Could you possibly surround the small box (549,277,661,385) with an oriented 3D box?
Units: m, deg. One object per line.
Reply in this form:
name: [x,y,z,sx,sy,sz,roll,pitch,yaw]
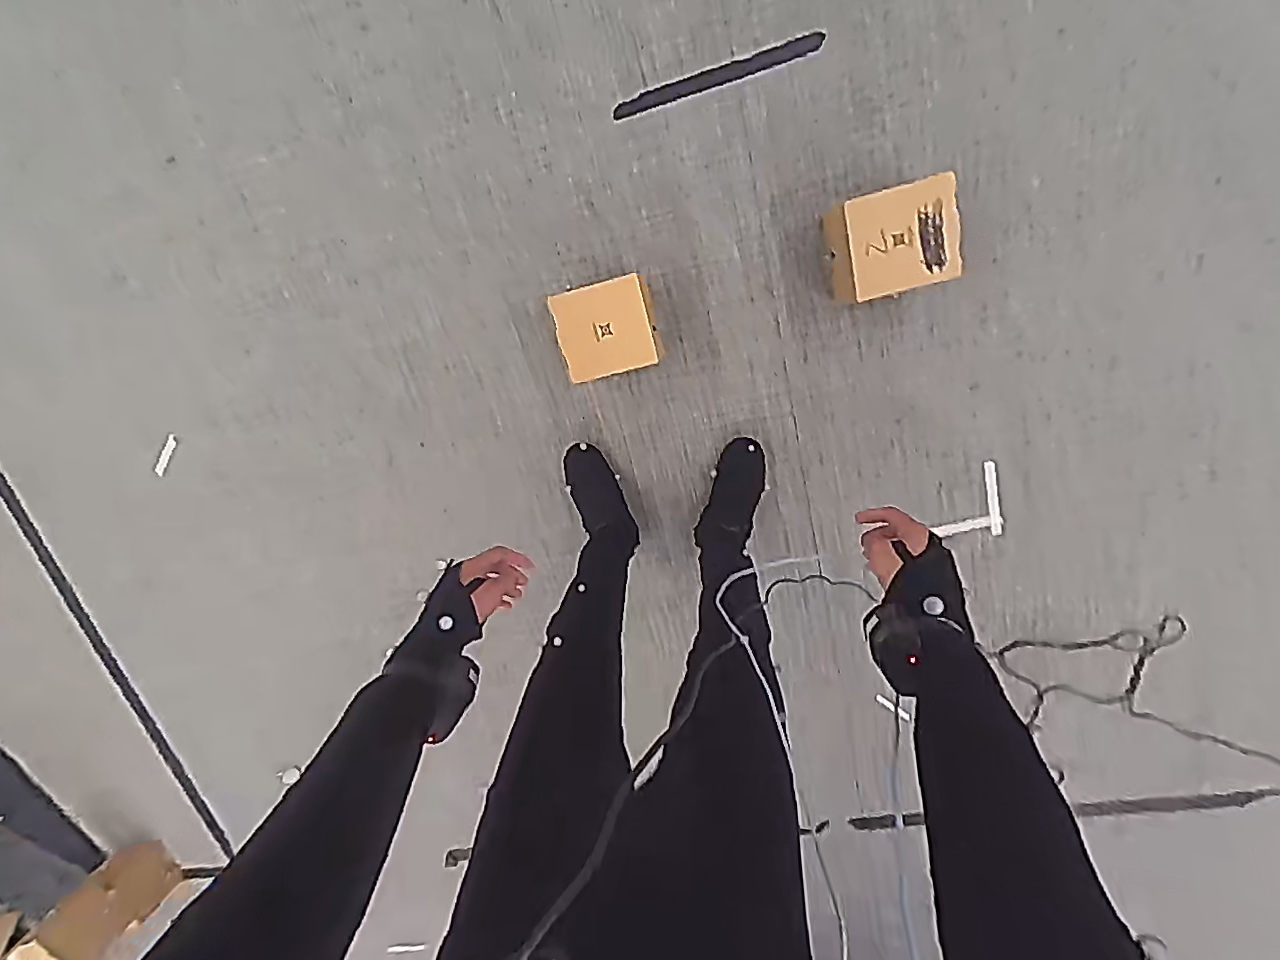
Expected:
small box: [-0.058,-0.300,1.074,0.179,0.176,0.168,-12,107,11]
